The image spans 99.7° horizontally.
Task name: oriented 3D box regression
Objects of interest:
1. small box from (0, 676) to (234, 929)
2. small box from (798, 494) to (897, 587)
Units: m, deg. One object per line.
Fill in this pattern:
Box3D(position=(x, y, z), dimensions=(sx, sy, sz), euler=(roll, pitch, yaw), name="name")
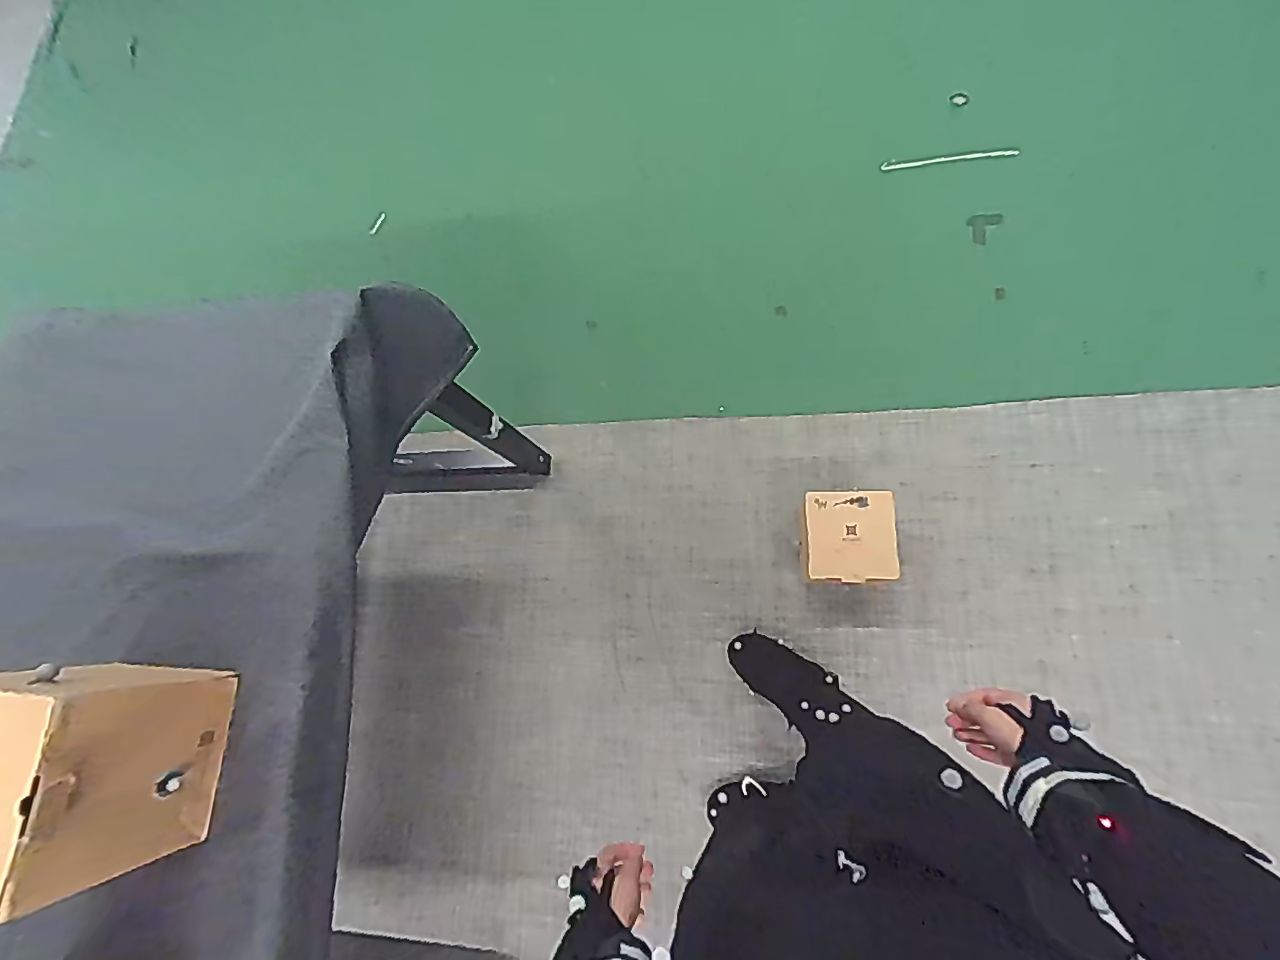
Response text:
Box3D(position=(-0.544, 0.282, 0.510), dimensions=(0.179, 0.176, 0.168), euler=(-1, 76, 11), name="small box")
Box3D(position=(0.421, 0.130, 1.117), dimensions=(0.168, 0.176, 0.179), euler=(-1, 77, 11), name="small box")
